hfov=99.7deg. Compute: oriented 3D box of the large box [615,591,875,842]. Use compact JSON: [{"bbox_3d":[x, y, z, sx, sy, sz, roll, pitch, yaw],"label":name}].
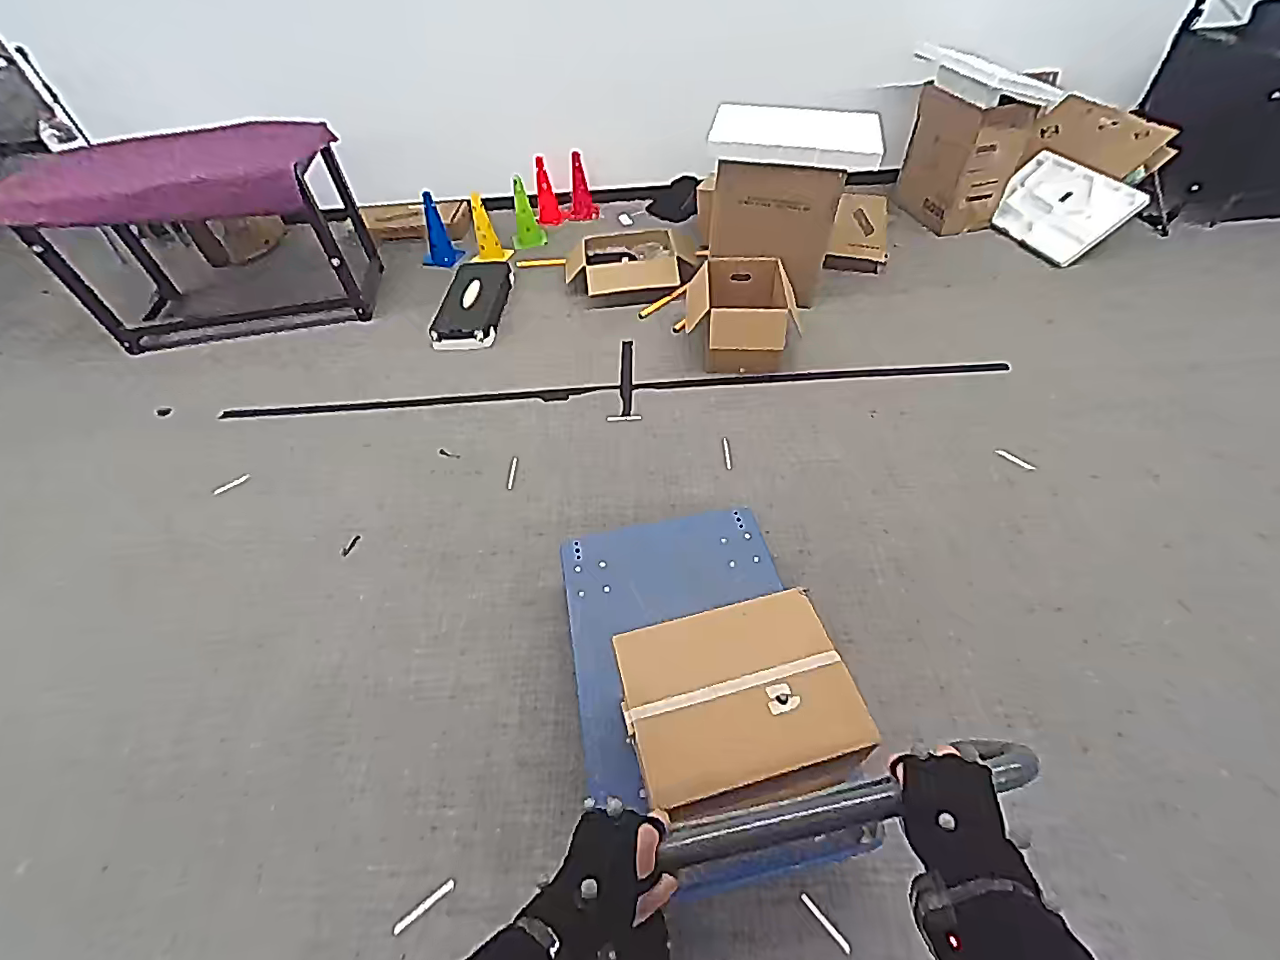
[{"bbox_3d":[0.184,0.483,1.109,0.408,0.320,0.320,-13,50,-9],"label":"large box"}]
